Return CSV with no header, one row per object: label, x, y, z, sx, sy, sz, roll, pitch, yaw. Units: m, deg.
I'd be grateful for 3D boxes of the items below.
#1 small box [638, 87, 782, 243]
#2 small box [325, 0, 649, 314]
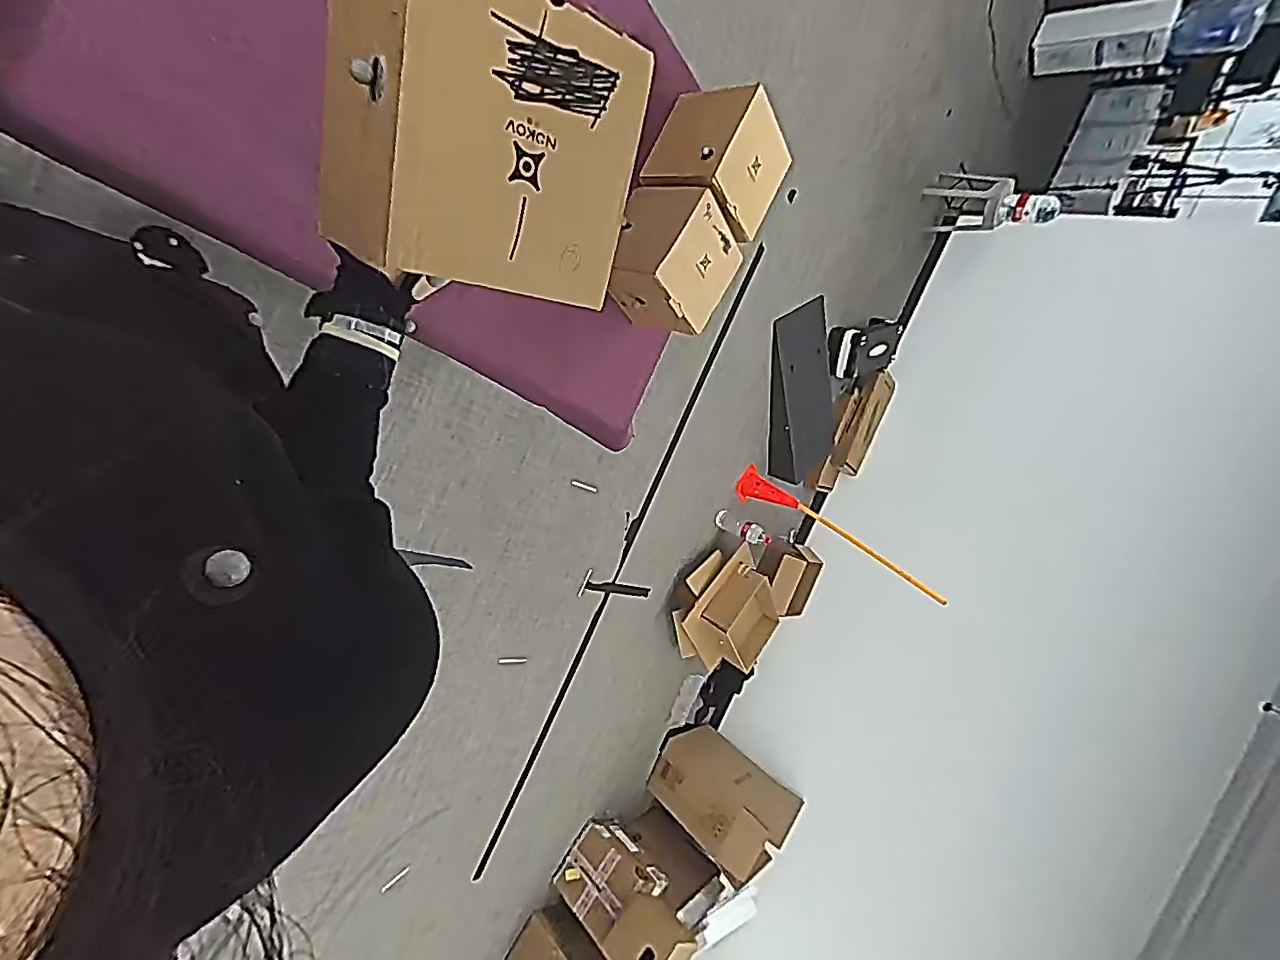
small box,0.125,-0.559,0.973,0.168,0.176,0.179,29,87,-53
small box,-0.124,-0.243,0.409,0.168,0.176,0.179,-4,117,-43
